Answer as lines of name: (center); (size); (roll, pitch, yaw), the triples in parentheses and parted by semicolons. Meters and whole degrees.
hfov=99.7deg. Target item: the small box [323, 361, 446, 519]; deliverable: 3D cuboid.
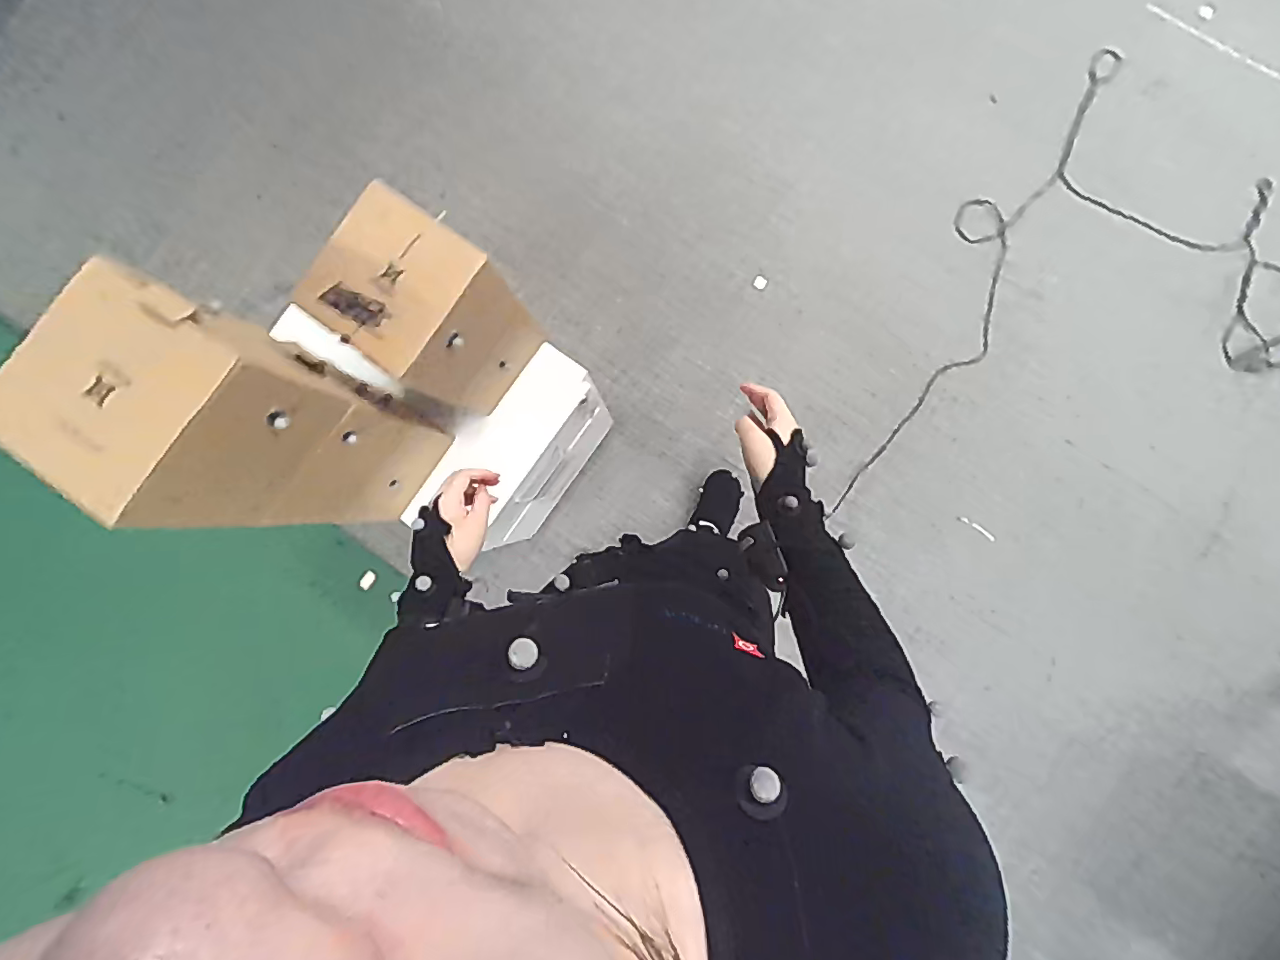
small box: (-0.440, -0.052, 0.854); (0.168, 0.176, 0.179); (34, 87, 3)

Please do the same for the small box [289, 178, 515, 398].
small box: (-0.285, -0.228, 0.694); (0.168, 0.176, 0.179); (35, 89, 3)

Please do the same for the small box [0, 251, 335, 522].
small box: (-0.441, -0.074, 0.528); (0.168, 0.176, 0.179); (34, 86, 4)

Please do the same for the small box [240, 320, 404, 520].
small box: (-0.441, -0.061, 0.690); (0.168, 0.176, 0.179); (35, 85, 3)
